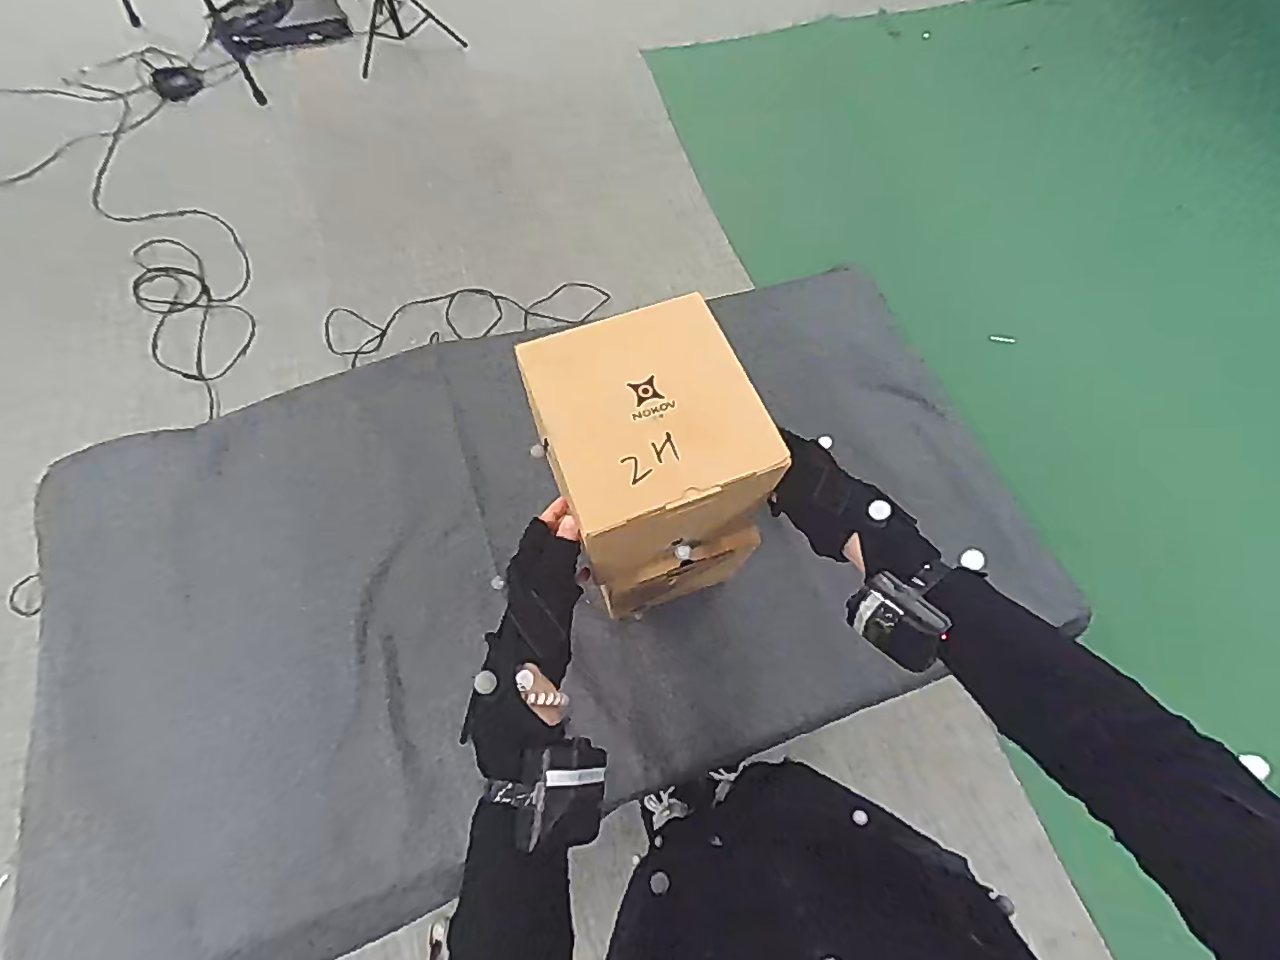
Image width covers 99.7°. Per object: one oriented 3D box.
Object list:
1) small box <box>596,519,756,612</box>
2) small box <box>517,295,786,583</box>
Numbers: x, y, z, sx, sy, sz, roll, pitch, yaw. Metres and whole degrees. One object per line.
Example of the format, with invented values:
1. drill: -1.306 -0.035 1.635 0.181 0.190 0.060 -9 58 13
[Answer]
1. small box: 0.015 0.045 0.641 0.168 0.176 0.179 -18 68 -9
2. small box: 0.001 -0.028 0.492 0.168 0.176 0.179 -19 69 -9
